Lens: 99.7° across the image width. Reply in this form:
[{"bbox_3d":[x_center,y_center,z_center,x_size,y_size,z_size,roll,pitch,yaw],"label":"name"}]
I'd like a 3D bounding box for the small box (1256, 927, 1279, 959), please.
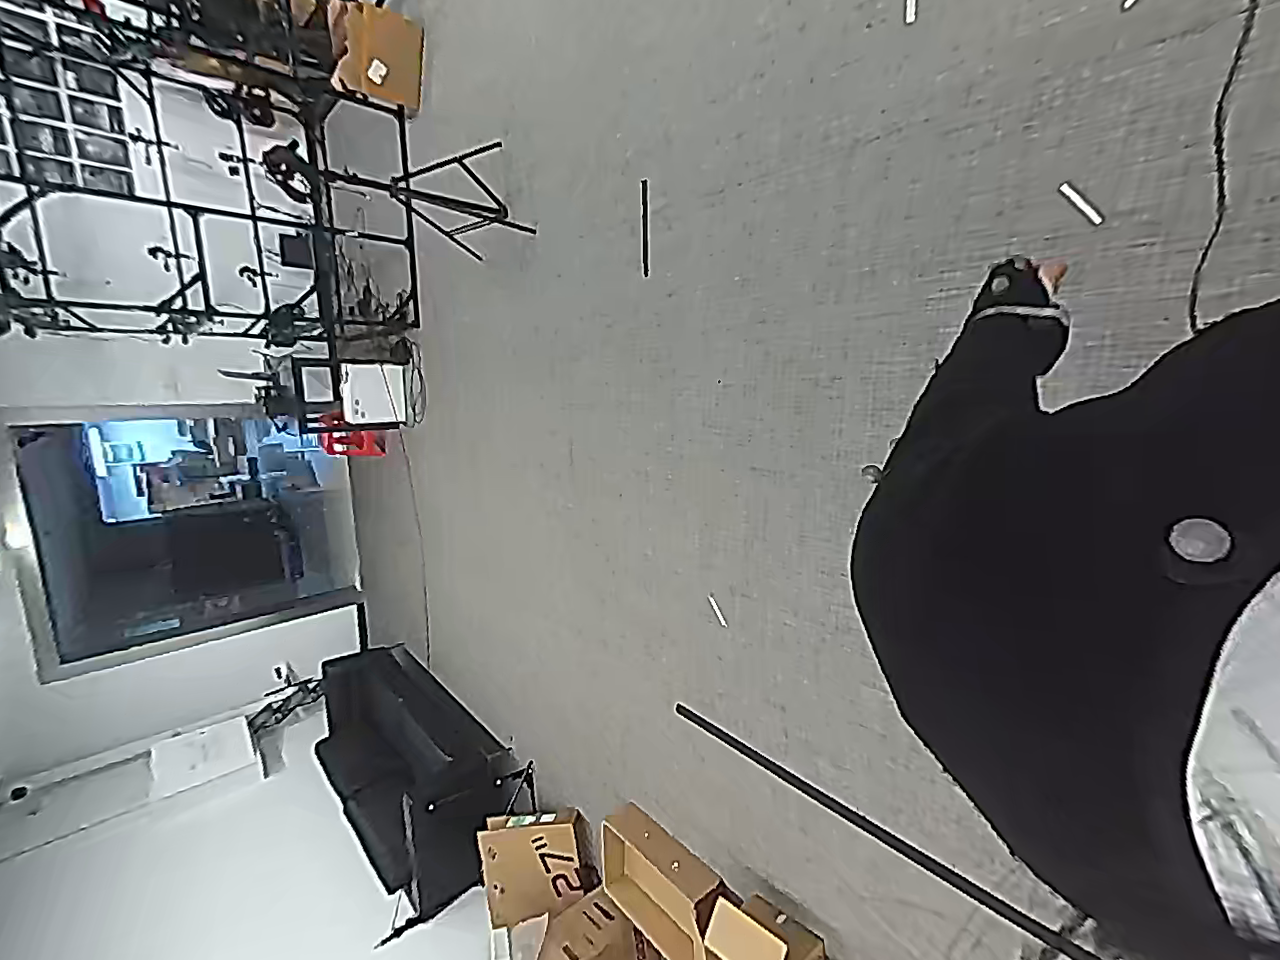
[{"bbox_3d":[1.116,0.898,0.872,0.168,0.176,0.179,17,109,46],"label":"small box"}]

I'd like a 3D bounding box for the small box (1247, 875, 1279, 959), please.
[{"bbox_3d":[1.244,0.873,0.973,0.179,0.176,0.168,17,110,47],"label":"small box"}]
